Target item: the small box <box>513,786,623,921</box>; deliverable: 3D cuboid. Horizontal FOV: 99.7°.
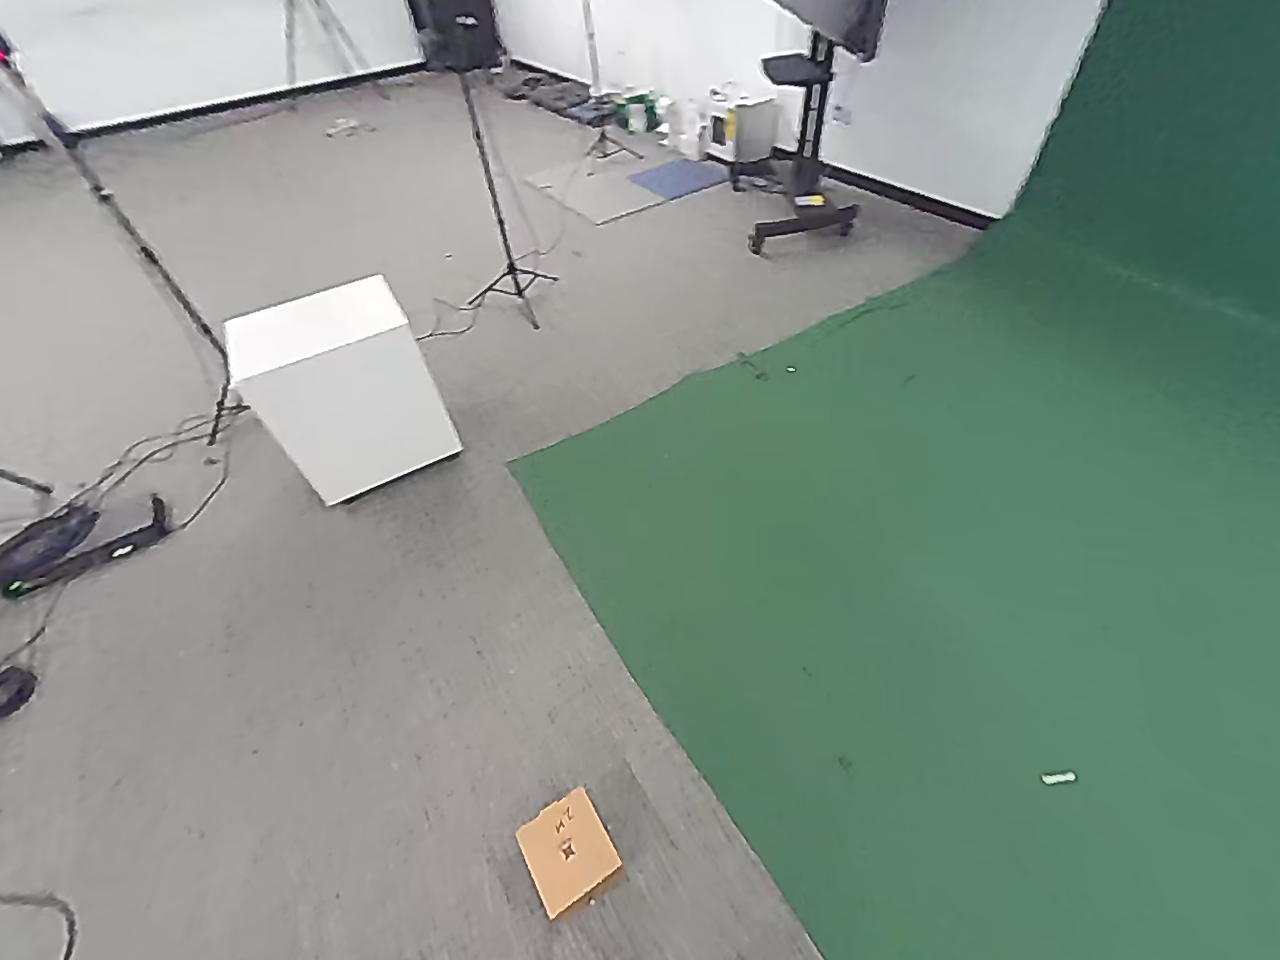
[{"bbox_3d":[-0.149,0.805,1.165,0.168,0.176,0.179,-27,51,-19],"label":"small box"}]
